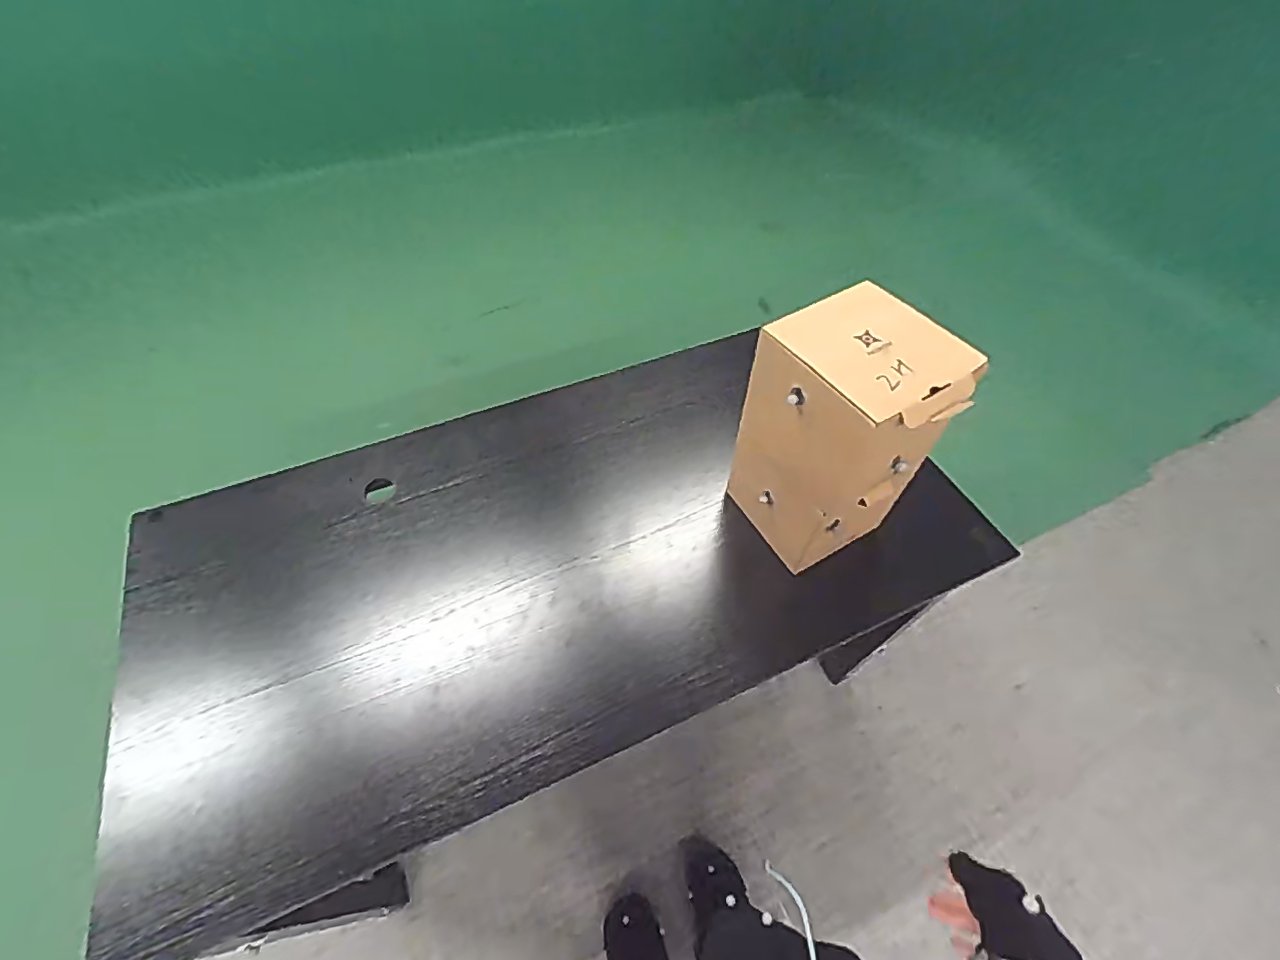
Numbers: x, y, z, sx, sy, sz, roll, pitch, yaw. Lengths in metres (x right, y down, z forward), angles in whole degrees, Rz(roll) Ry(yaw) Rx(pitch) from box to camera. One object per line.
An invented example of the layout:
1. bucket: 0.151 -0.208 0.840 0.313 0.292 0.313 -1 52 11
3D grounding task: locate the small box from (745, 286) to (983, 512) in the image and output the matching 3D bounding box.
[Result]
1. small box: 0.247 -0.094 0.647 0.168 0.176 0.179 -28 59 -18
